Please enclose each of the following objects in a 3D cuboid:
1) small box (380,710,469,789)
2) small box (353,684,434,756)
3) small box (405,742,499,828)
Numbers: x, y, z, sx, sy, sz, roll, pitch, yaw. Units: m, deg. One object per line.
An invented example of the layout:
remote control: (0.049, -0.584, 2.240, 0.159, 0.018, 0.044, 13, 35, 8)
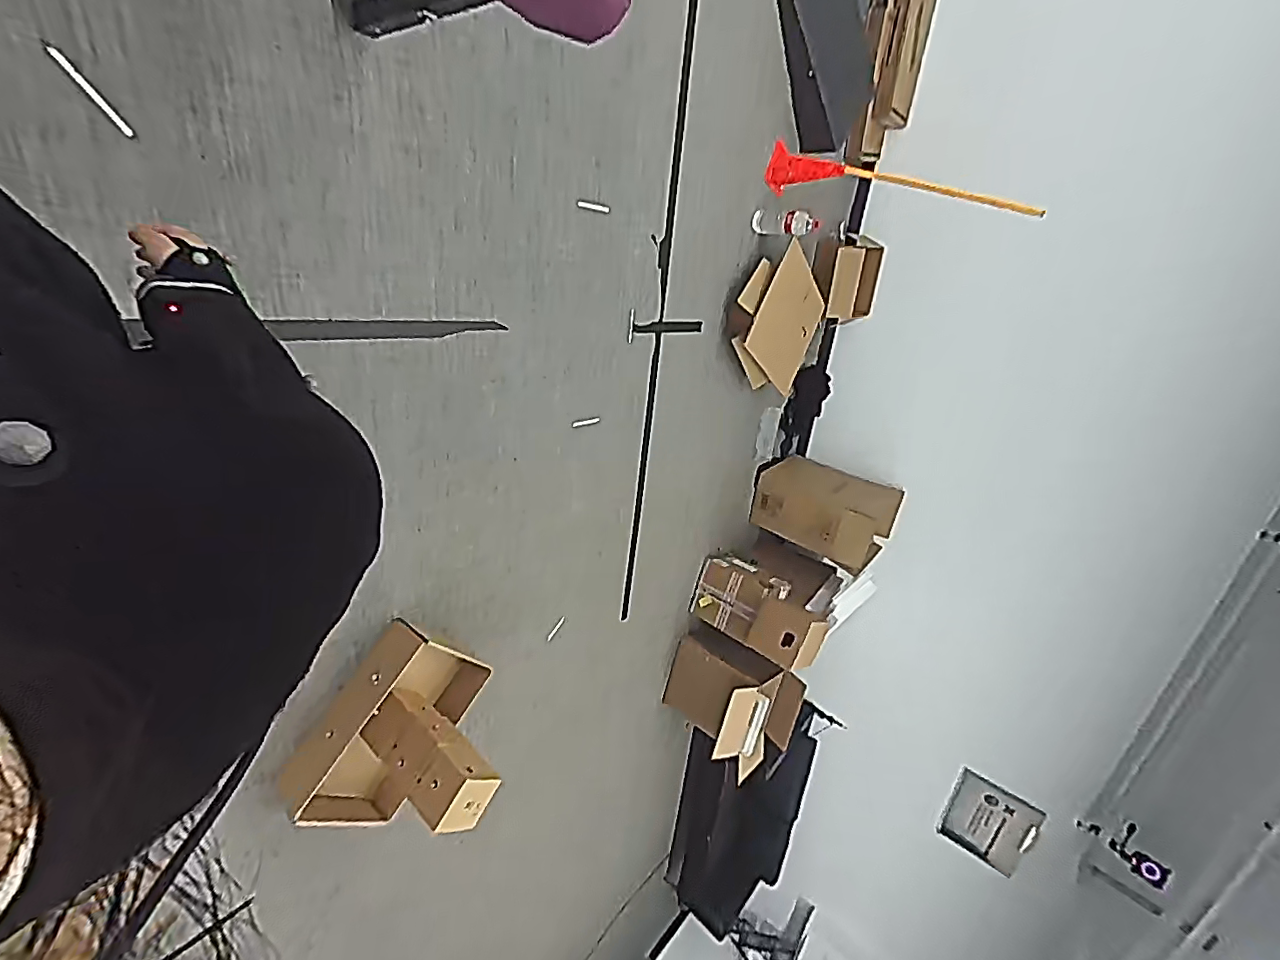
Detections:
small box: (-0.703, 0.874, 1.758, 0.168, 0.176, 0.179, -57, 146, -11)
small box: (-0.830, 0.823, 1.845, 0.168, 0.176, 0.179, -56, 144, -15)
small box: (-0.581, 0.933, 1.663, 0.168, 0.176, 0.179, -57, 145, -10)
